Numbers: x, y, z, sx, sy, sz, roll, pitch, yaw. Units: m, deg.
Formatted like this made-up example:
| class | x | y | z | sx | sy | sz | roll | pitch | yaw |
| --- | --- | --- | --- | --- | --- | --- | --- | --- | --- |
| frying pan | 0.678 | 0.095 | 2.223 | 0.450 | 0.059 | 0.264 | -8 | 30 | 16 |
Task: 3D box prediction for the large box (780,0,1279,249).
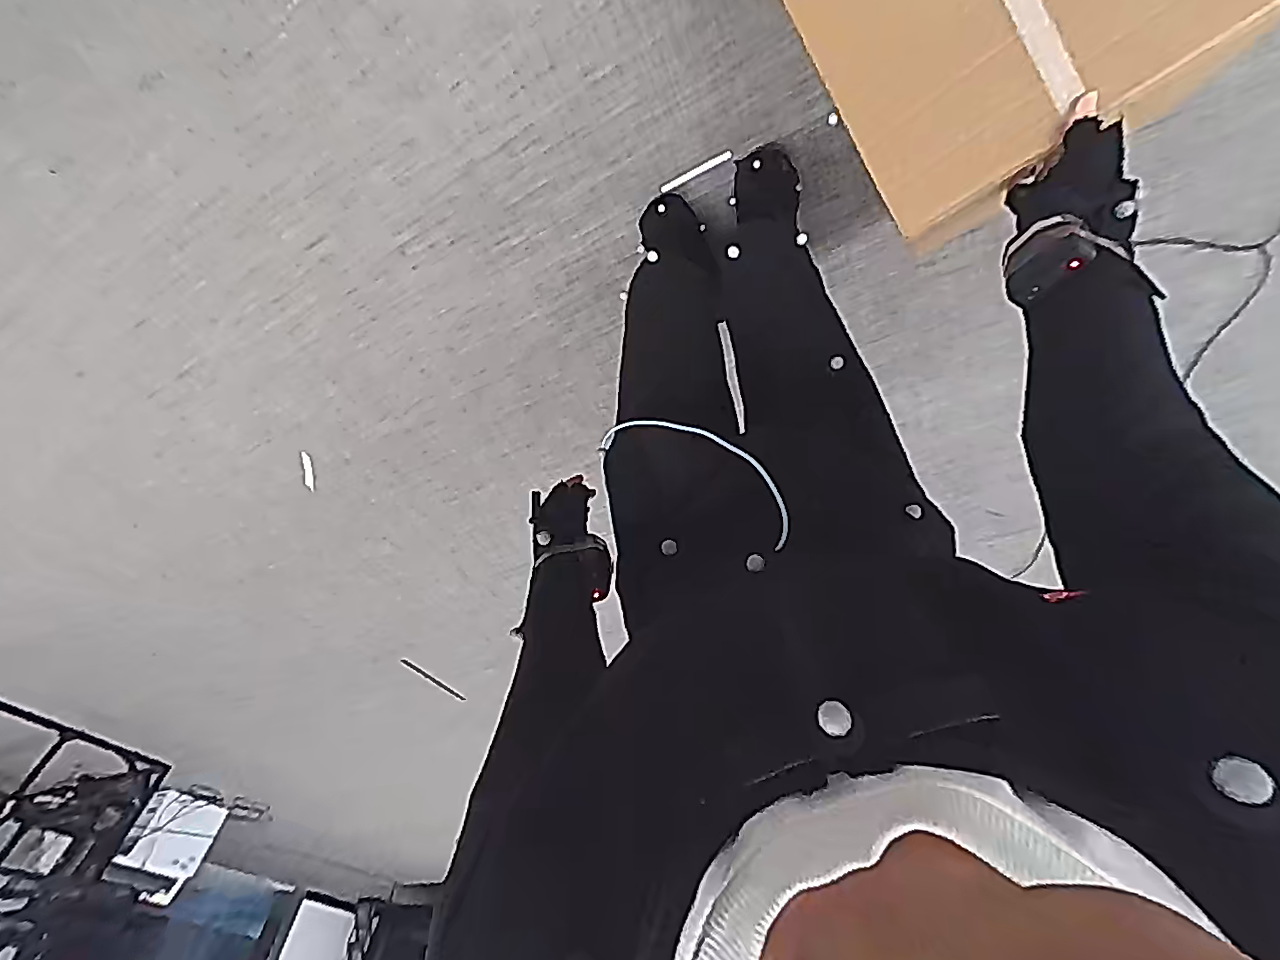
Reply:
| class | x | y | z | sx | sy | sz | roll | pitch | yaw |
| --- | --- | --- | --- | --- | --- | --- | --- | --- | --- |
| large box | 0.379 | -0.538 | 0.620 | 0.320 | 0.320 | 0.408 | -27 | 93 | 33 |
